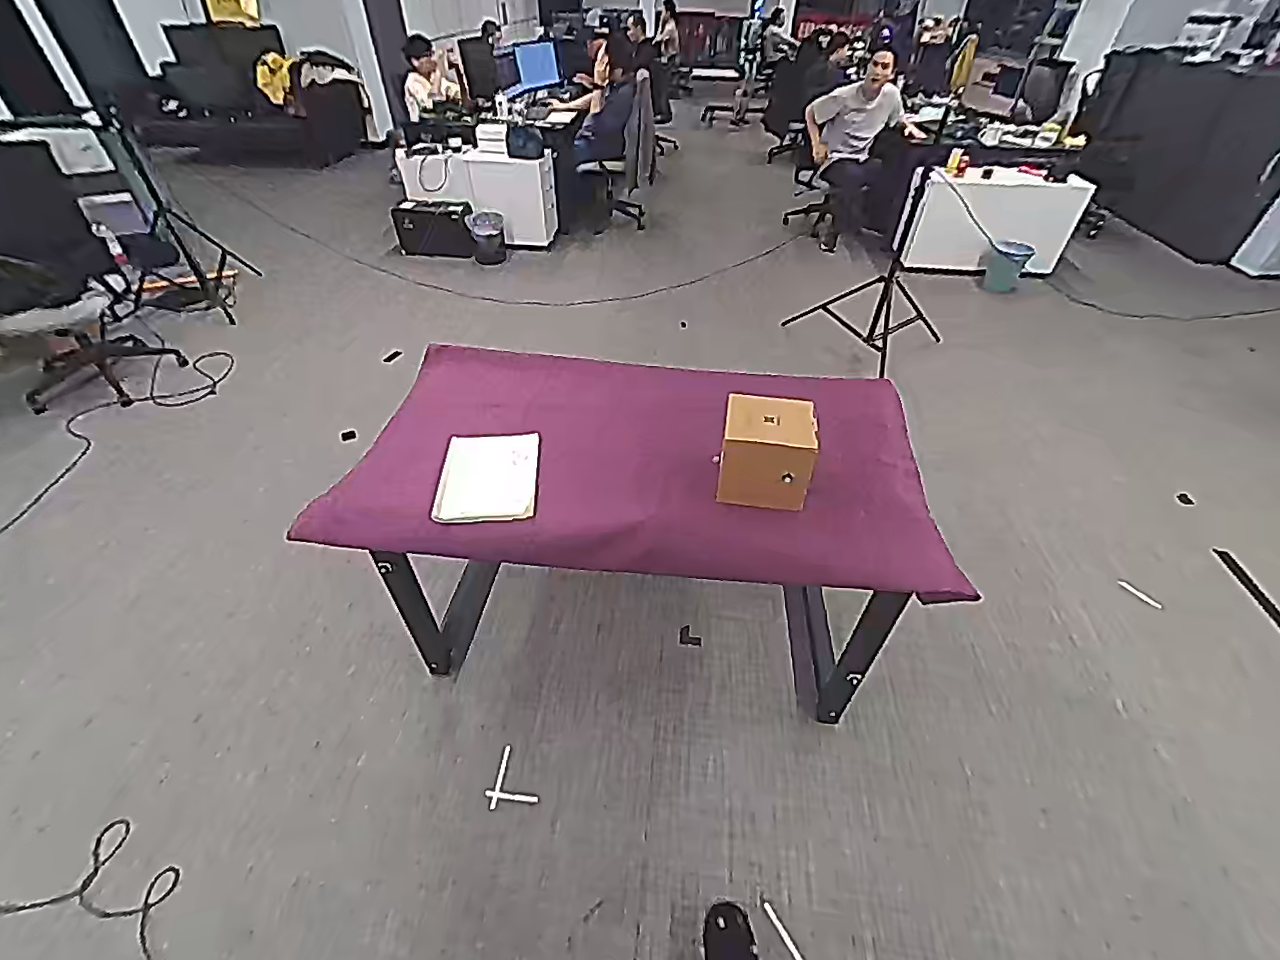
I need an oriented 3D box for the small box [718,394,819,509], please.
[{"bbox_3d":[0.261,-0.057,1.120,0.179,0.176,0.168,6,40,8],"label":"small box"}]
